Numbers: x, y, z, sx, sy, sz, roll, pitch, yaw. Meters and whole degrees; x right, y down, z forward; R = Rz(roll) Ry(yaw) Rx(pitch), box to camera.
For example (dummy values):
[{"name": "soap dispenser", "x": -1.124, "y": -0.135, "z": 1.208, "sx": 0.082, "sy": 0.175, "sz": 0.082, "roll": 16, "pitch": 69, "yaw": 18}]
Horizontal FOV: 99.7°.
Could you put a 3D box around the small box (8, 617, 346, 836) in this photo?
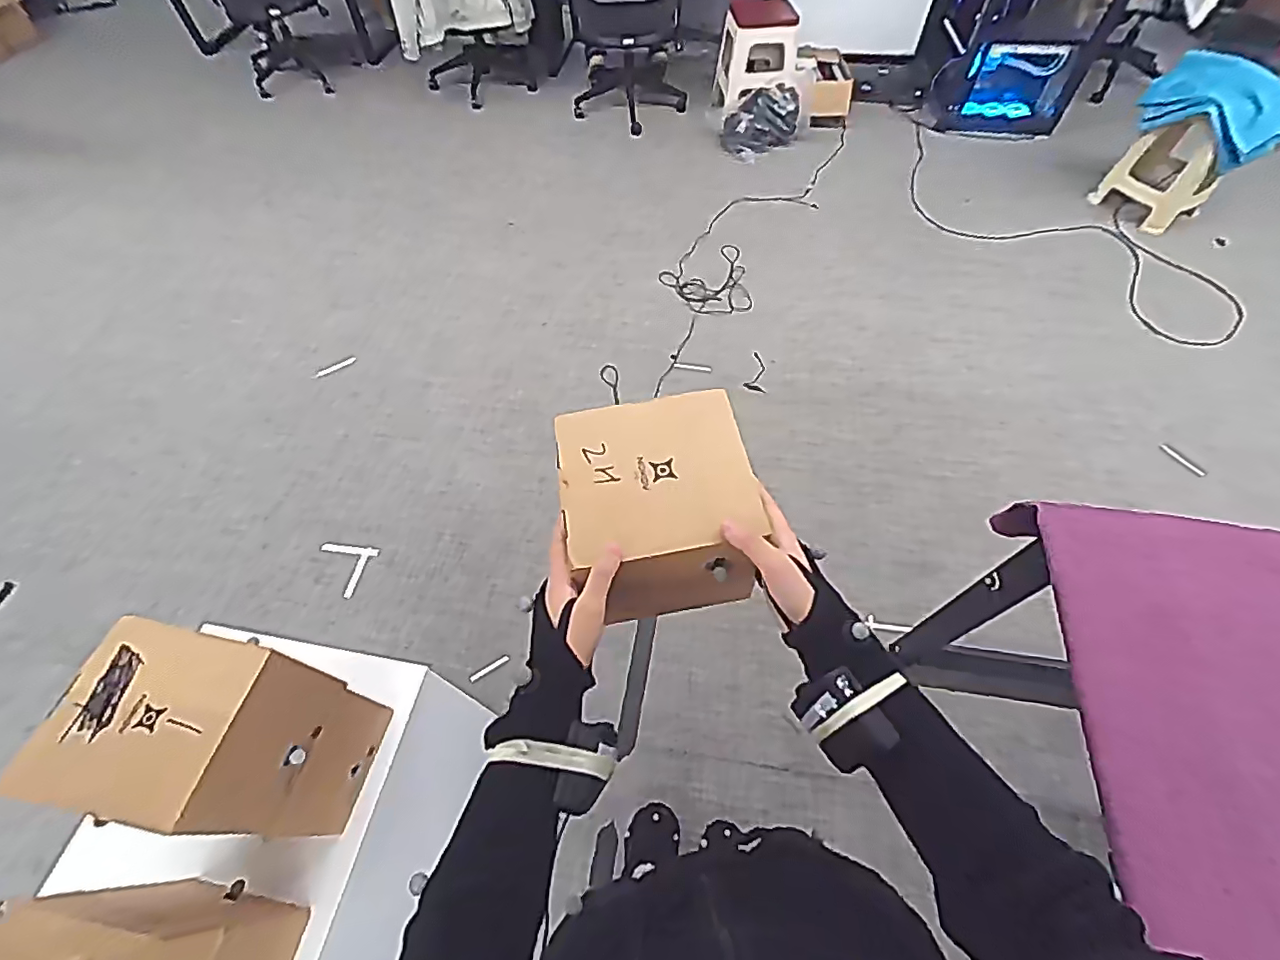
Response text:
[{"name": "small box", "x": -0.465, "y": 0.266, "z": 0.581, "sx": 0.179, "sy": 0.176, "sz": 0.168, "roll": 10, "pitch": 59, "yaw": 7}]

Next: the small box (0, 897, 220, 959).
[{"name": "small box", "x": -0.518, "y": 0.473, "z": 0.453, "sx": 0.179, "sy": 0.176, "sz": 0.168, "roll": 7, "pitch": 58, "yaw": 6}]

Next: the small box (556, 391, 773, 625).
[{"name": "small box", "x": 0.019, "y": 0.035, "z": 0.555, "sx": 0.179, "sy": 0.176, "sz": 0.168, "roll": -10, "pitch": 57, "yaw": -1}]

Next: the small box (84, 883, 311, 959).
[{"name": "small box", "x": -0.516, "y": 0.560, "z": 0.590, "sx": 0.179, "sy": 0.176, "sz": 0.168, "roll": 8, "pitch": 59, "yaw": 8}]
